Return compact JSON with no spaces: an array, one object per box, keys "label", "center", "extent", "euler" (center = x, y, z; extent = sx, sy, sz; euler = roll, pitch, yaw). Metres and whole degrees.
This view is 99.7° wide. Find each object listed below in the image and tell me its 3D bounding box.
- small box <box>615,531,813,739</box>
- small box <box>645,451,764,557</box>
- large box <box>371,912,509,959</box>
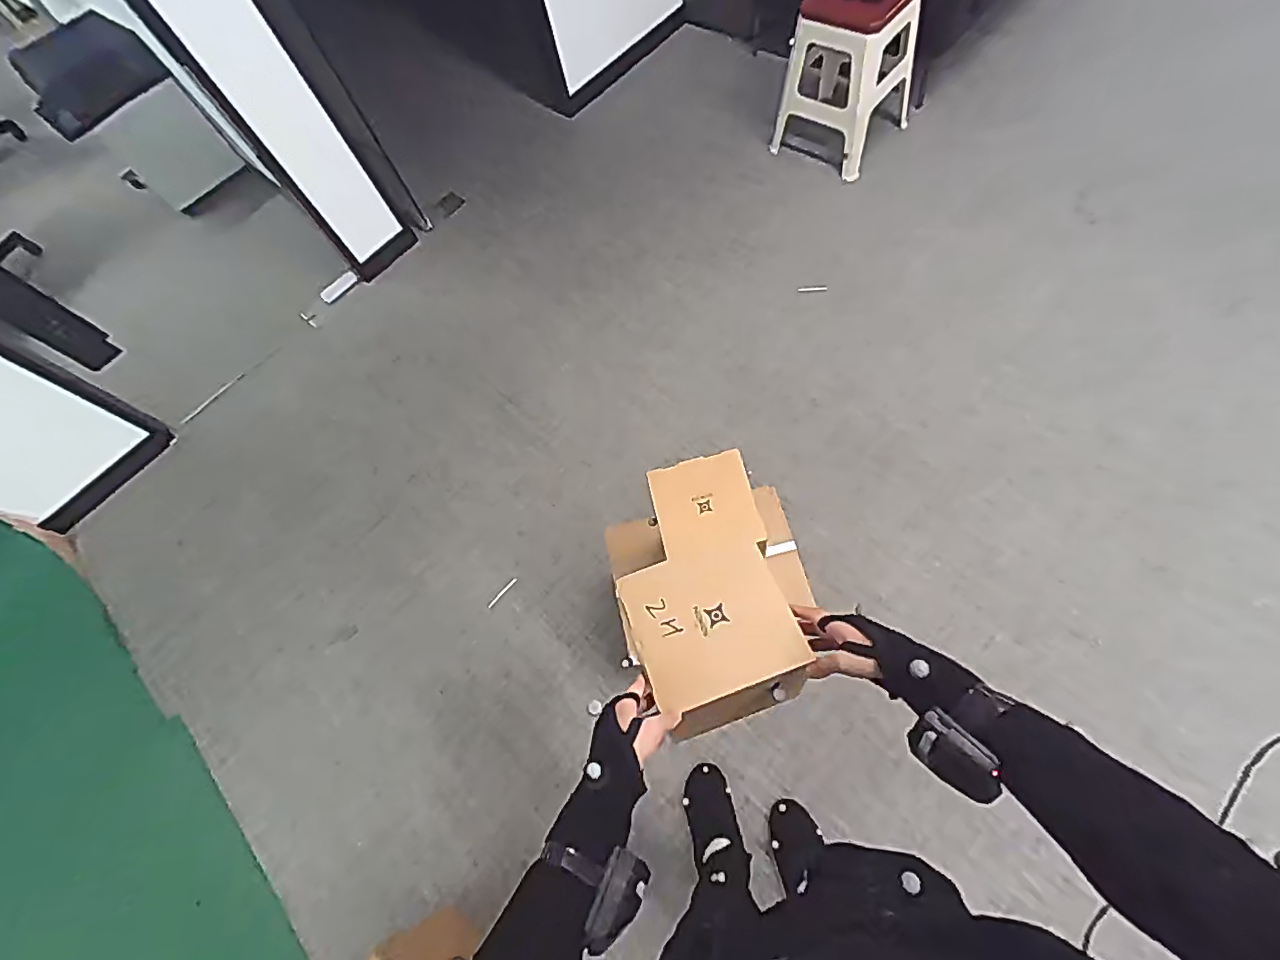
[{"label":"small box","center":[0.084,0.193,0.659],"extent":[0.179,0.176,0.168],"euler":[-19,54,-5]},{"label":"small box","center":[0.117,0.079,0.960],"extent":[0.168,0.176,0.179],"euler":[-15,61,3]},{"label":"large box","center":[-0.422,1.143,1.000],"extent":[0.320,0.320,0.408],"euler":[23,72,21]}]
